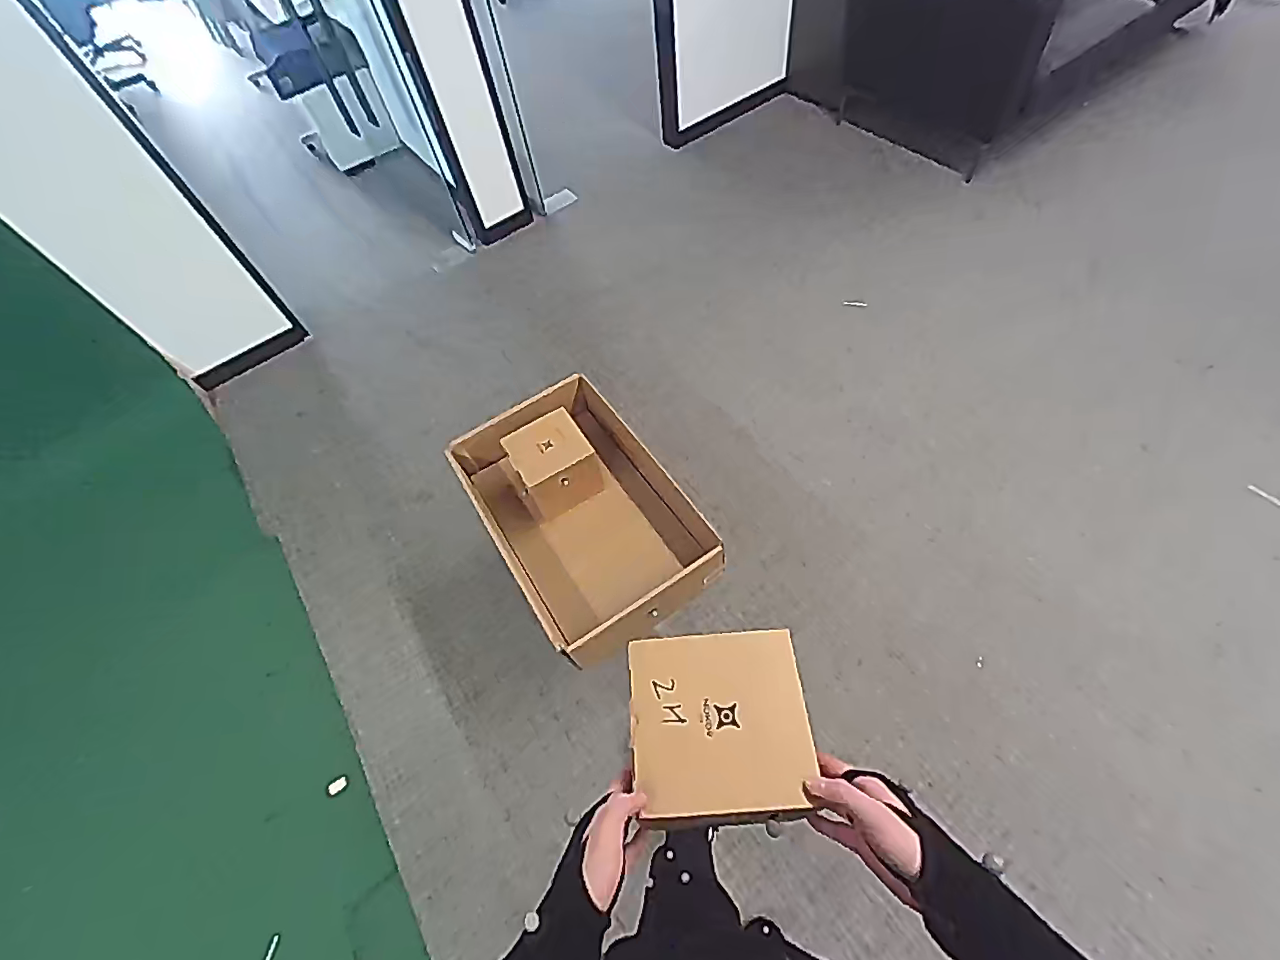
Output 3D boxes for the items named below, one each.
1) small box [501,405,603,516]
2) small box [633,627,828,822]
[{"bbox_3d":[-0.208,-0.042,1.312,0.179,0.176,0.168,-28,60,-13],"label":"small box"},{"bbox_3d":[0.085,0.274,0.596,0.179,0.176,0.168,-4,54,2],"label":"small box"}]
